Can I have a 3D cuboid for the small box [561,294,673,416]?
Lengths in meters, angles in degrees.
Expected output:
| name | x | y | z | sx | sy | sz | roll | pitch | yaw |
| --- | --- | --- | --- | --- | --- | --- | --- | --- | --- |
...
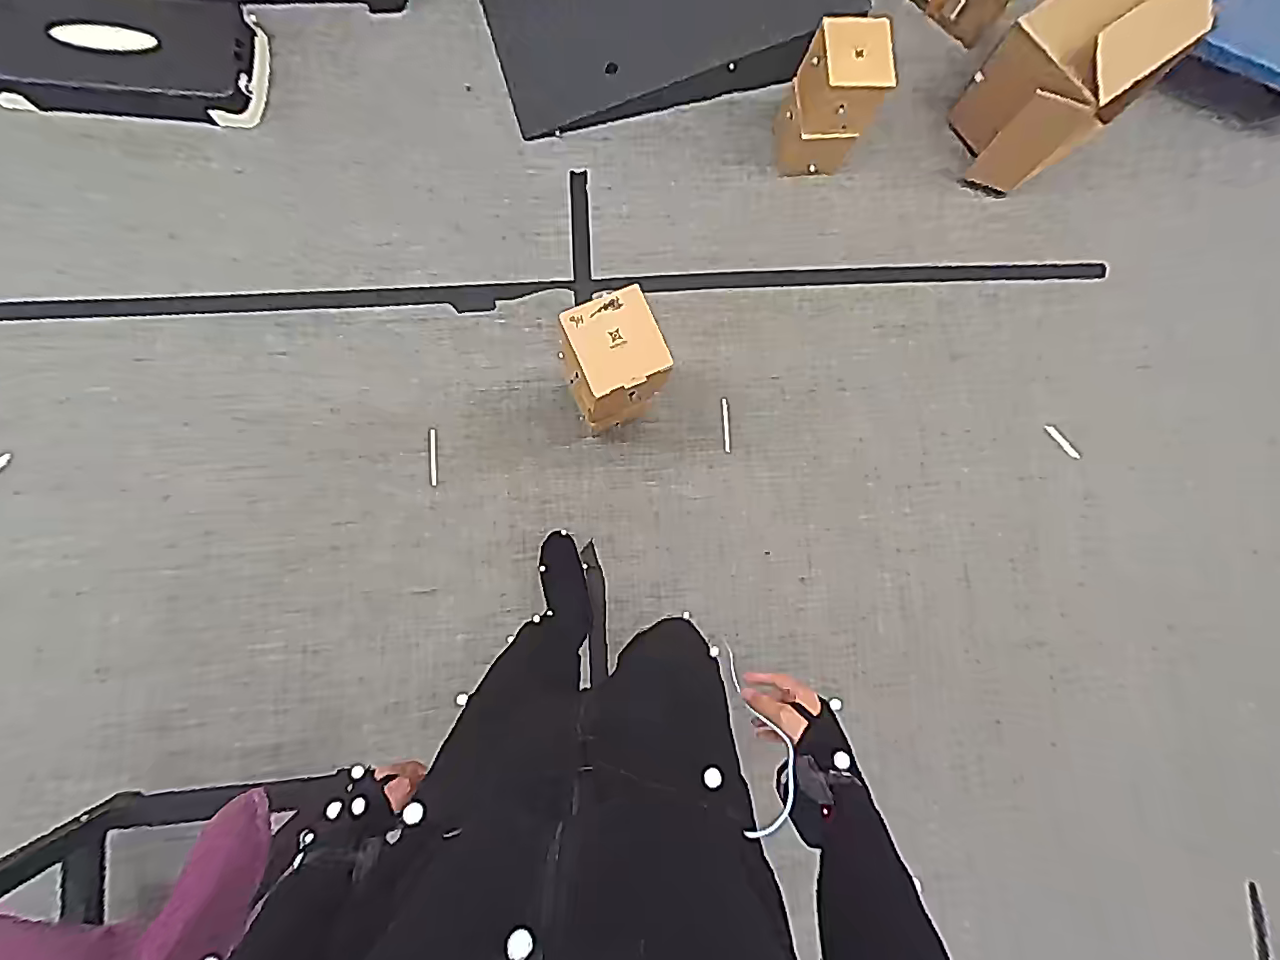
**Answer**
| name | x | y | z | sx | sy | sz | roll | pitch | yaw |
| --- | --- | --- | --- | --- | --- | --- | --- | --- | --- |
| small box | -0.049 | -0.241 | 1.096 | 0.168 | 0.176 | 0.179 | -23 | 88 | -7 |
